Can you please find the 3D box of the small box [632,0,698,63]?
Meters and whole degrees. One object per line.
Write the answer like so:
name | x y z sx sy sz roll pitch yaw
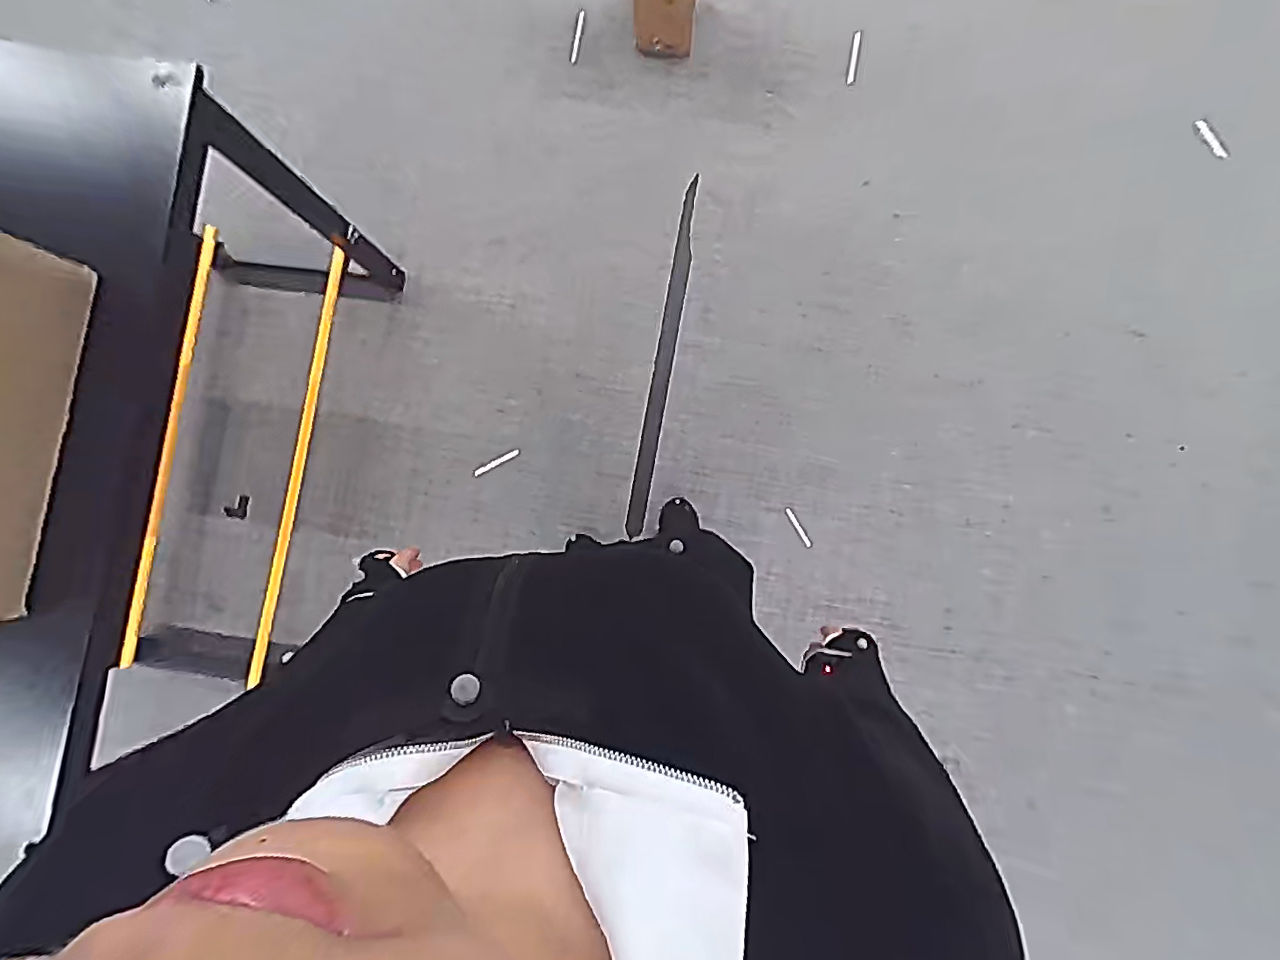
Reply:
small box | 0.073 -1.312 1.499 0.168 0.176 0.179 7 88 3

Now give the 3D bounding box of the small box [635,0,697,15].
small box | 0.069 -1.305 1.334 0.168 0.176 0.179 8 87 3
